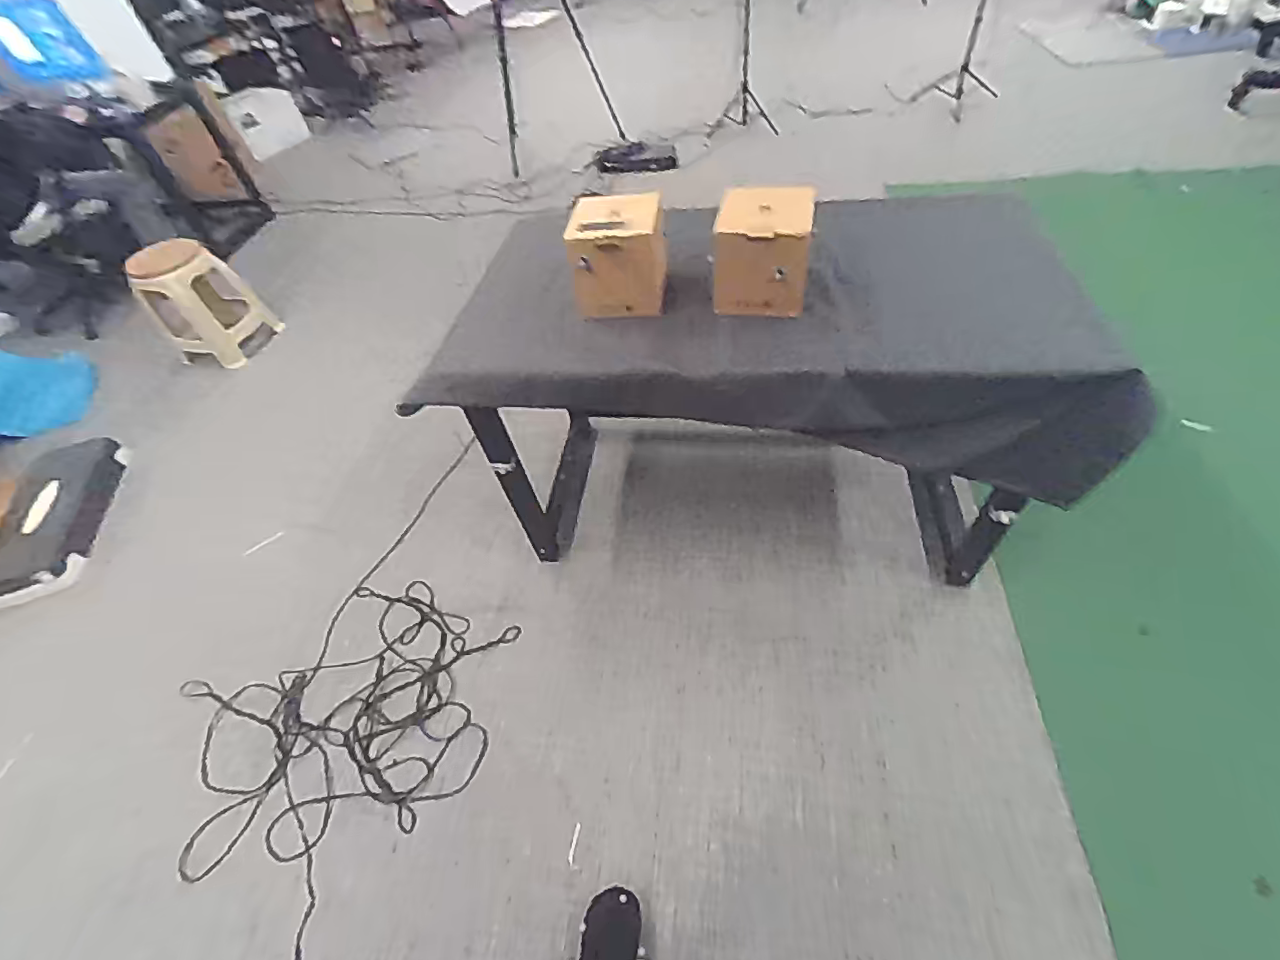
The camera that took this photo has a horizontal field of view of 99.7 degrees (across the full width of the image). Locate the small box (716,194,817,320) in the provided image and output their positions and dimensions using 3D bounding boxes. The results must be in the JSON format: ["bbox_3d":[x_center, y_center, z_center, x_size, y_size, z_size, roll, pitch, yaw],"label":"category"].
[{"bbox_3d":[0.241,-0.423,1.034,0.168,0.176,0.179,7,50,13],"label":"small box"}]
